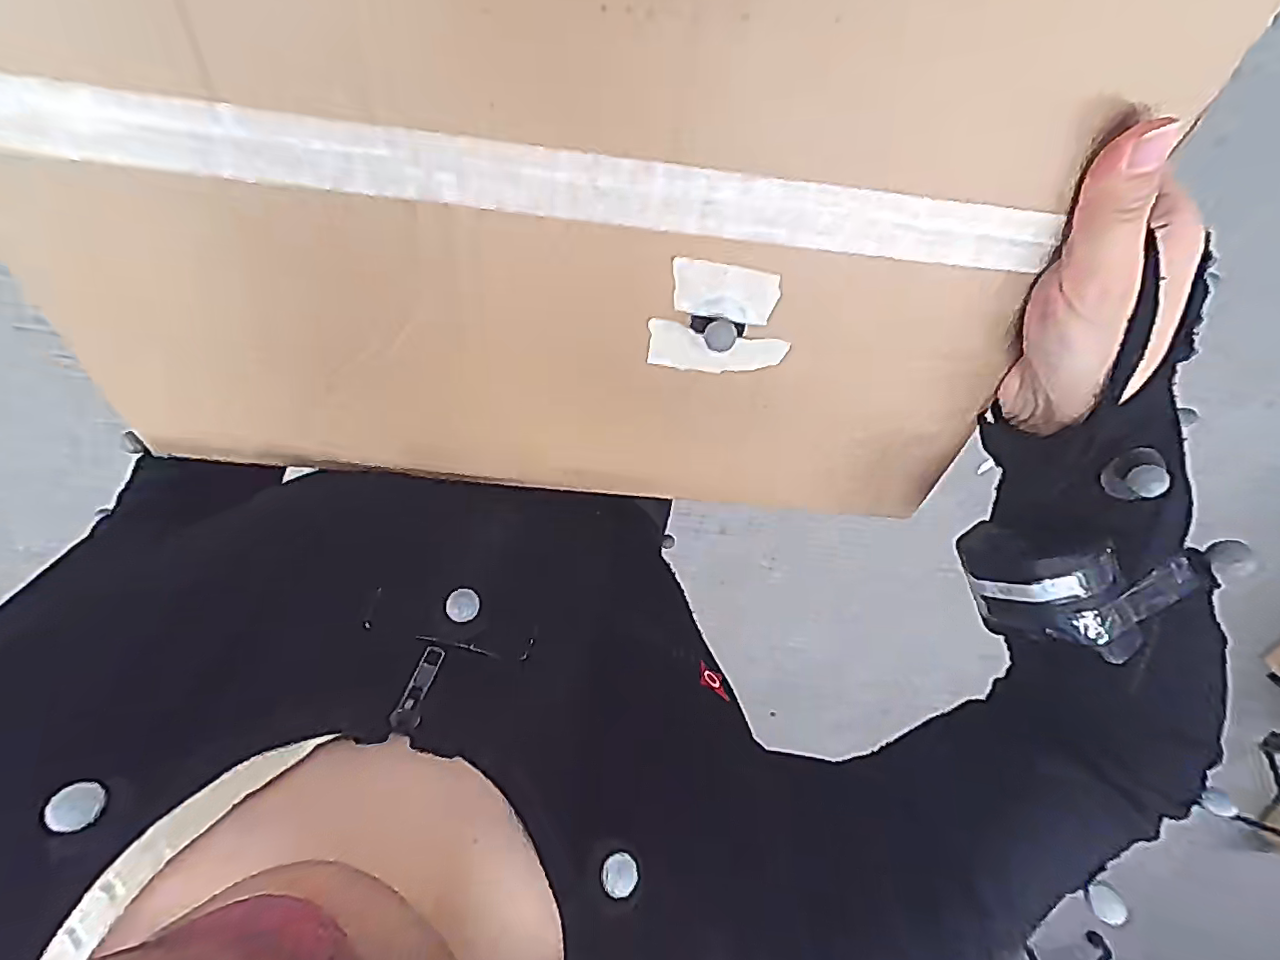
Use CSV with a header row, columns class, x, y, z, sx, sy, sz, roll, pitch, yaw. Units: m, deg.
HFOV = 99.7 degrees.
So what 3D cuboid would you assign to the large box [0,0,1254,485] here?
class,x,y,z,sx,sy,sz,roll,pitch,yaw
large box,-0.025,-0.222,0.294,0.408,0.320,0.320,4,136,-6
